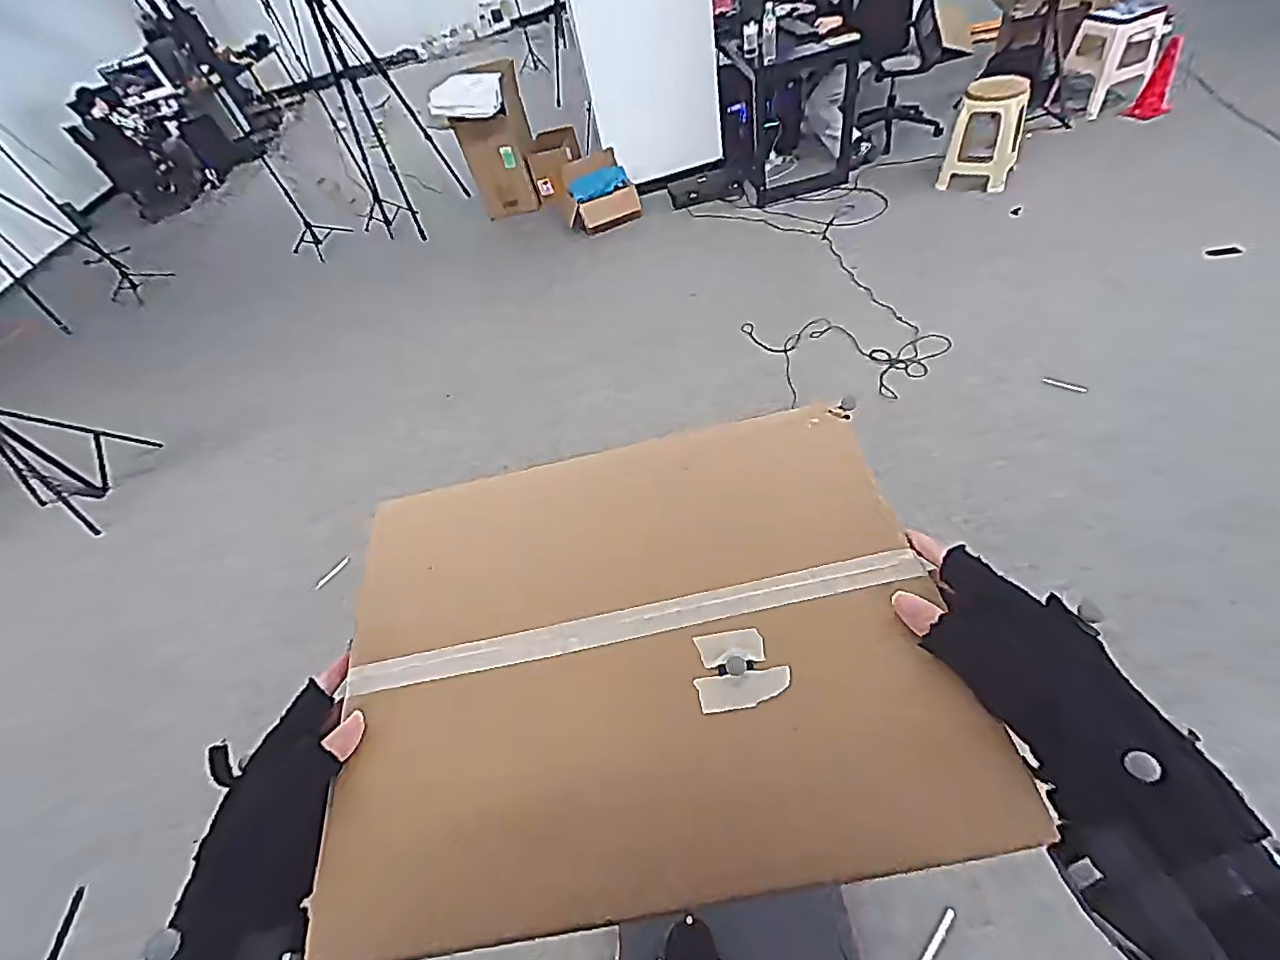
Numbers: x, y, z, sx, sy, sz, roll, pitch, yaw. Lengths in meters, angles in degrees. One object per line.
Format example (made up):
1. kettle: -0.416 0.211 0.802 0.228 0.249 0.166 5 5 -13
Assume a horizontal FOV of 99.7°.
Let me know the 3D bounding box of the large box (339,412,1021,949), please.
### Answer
1. large box: 0.018 0.189 0.509 0.408 0.320 0.320 -12 54 2
